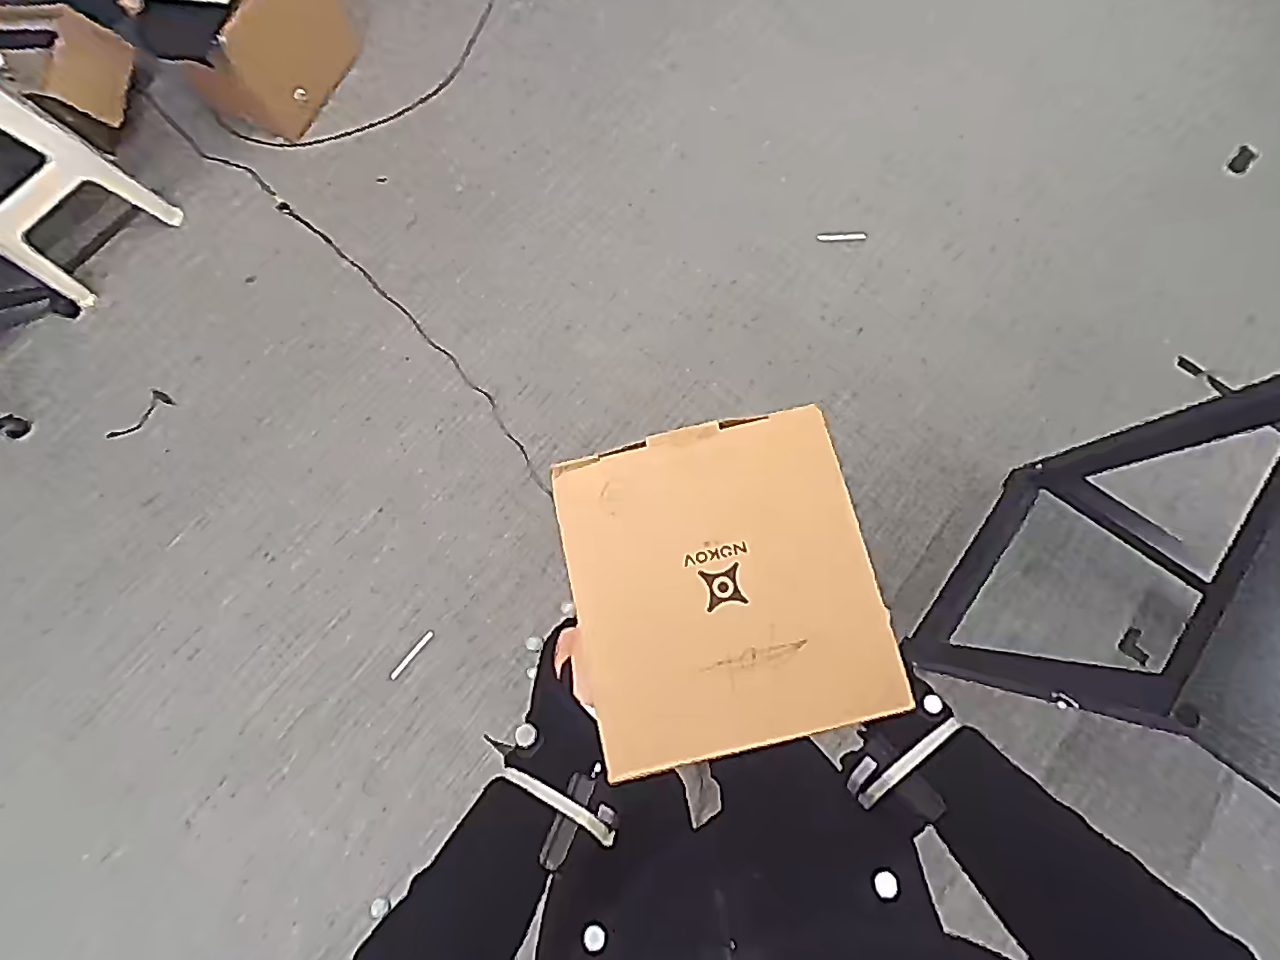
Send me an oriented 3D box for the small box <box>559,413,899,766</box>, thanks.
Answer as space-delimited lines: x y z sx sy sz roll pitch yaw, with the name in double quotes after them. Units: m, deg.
0.048 0.074 0.390 0.168 0.176 0.179 -13 78 0 "small box"
